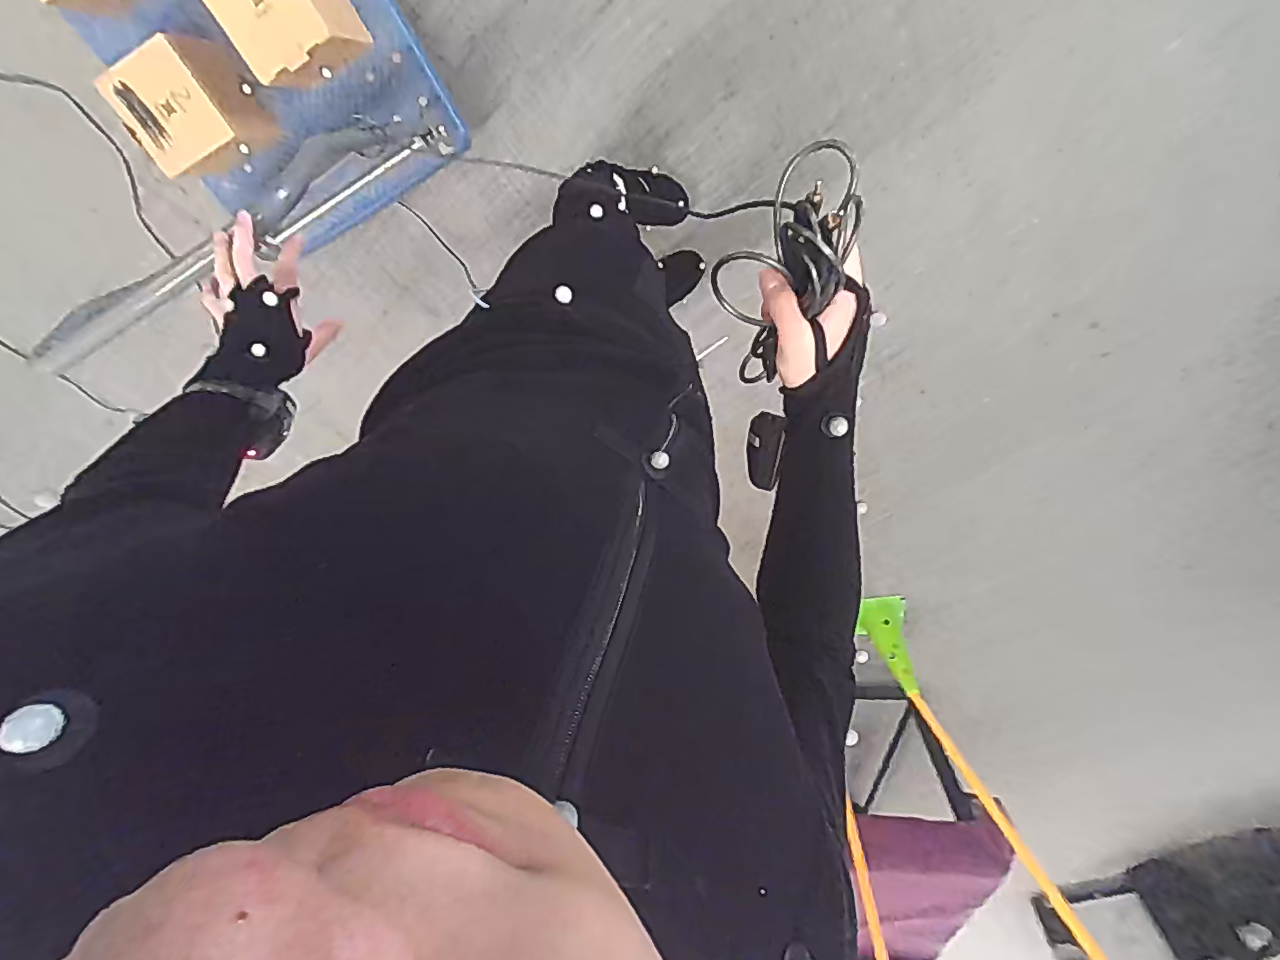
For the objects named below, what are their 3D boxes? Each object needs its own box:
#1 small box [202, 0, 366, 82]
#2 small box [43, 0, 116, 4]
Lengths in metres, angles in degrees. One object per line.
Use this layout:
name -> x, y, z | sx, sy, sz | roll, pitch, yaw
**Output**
small box -> -0.629, -0.833, 0.947 | 0.168, 0.176, 0.179 | -21, 122, 15
small box -> -0.963, -0.927, 0.884 | 0.168, 0.176, 0.179 | -25, 121, 16
